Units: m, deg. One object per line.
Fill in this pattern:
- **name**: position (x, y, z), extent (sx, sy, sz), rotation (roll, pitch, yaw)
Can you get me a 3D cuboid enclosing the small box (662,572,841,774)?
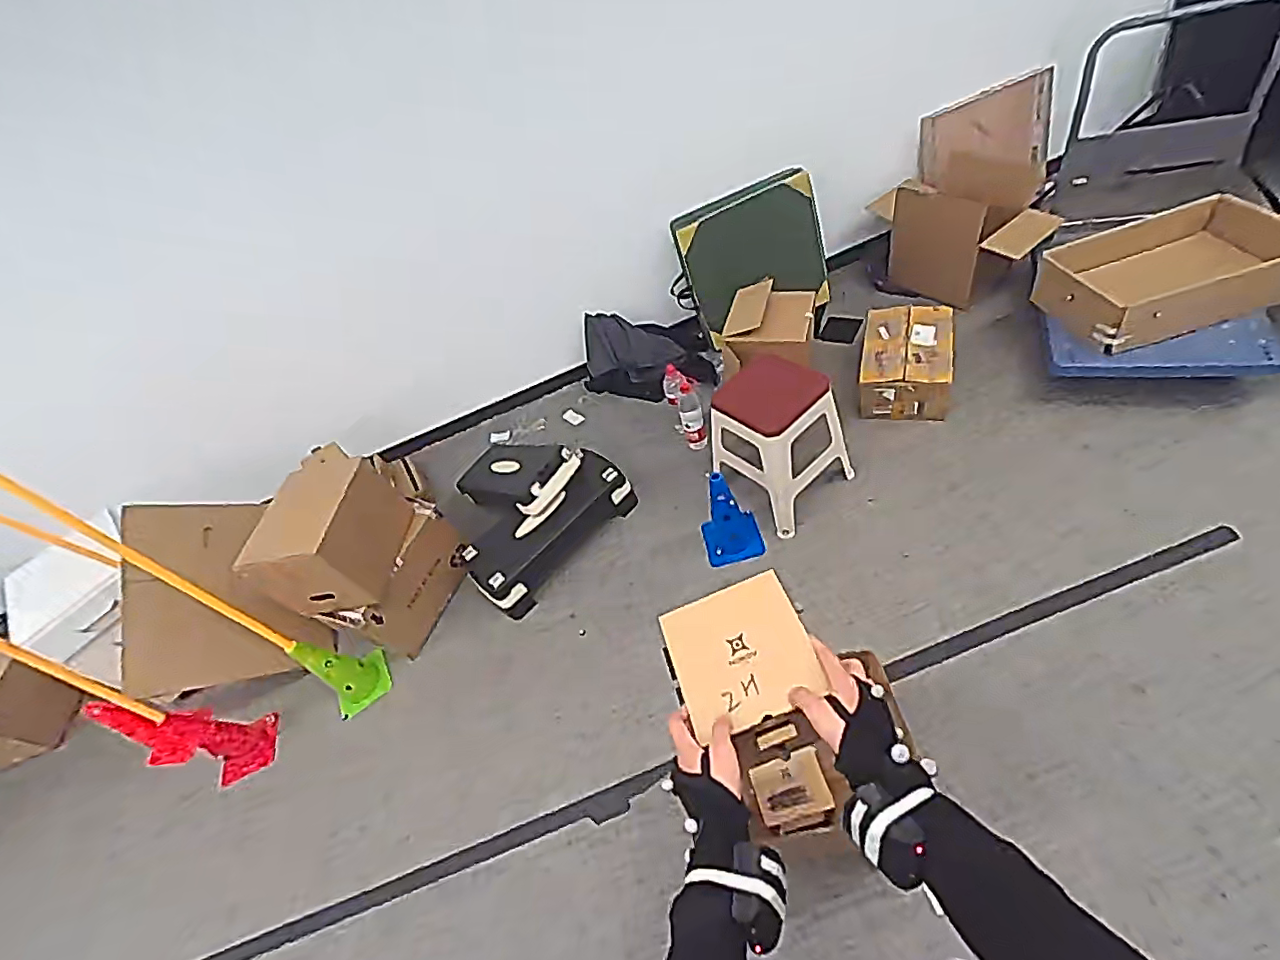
- **small box**: position (0.148, 0.259, 0.716), extent (0.168, 0.176, 0.179), rotation (-25, 49, 4)
